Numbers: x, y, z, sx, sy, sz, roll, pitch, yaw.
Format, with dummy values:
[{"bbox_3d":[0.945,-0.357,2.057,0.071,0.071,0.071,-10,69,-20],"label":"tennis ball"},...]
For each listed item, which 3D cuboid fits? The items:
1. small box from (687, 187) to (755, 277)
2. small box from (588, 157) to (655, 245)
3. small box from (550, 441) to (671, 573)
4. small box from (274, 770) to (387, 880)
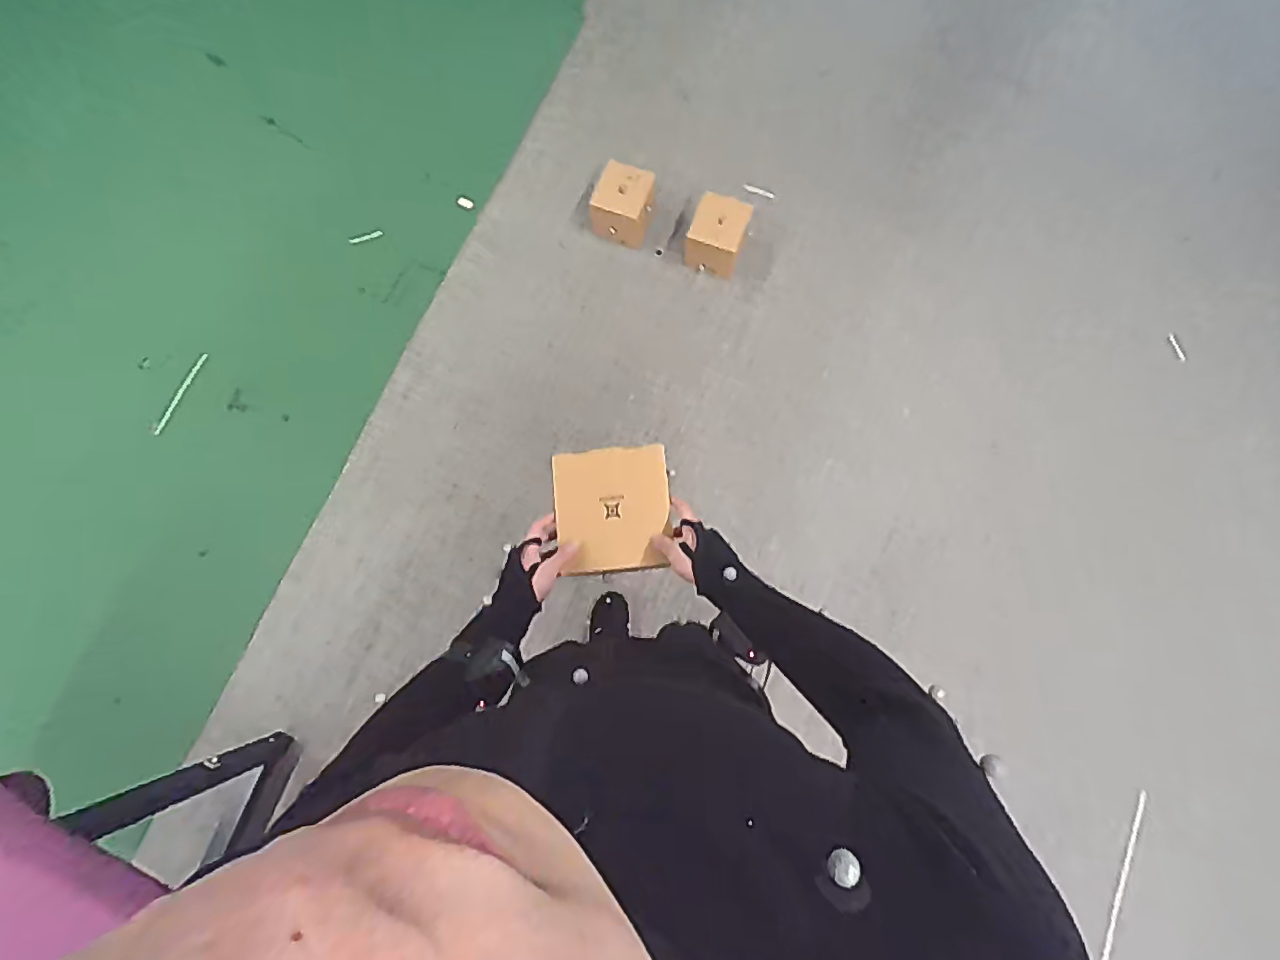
[{"bbox_3d":[0.253,-0.796,1.746,0.168,0.176,0.179,21,81,7],"label":"small box"},{"bbox_3d":[-0.052,-0.912,1.783,0.168,0.176,0.179,21,81,6],"label":"small box"},{"bbox_3d":[-0.039,0.050,0.834,0.168,0.176,0.179,-5,78,1],"label":"small box"},{"bbox_3d":[-0.832,0.928,1.475,0.179,0.176,0.168,25,81,7],"label":"small box"}]
